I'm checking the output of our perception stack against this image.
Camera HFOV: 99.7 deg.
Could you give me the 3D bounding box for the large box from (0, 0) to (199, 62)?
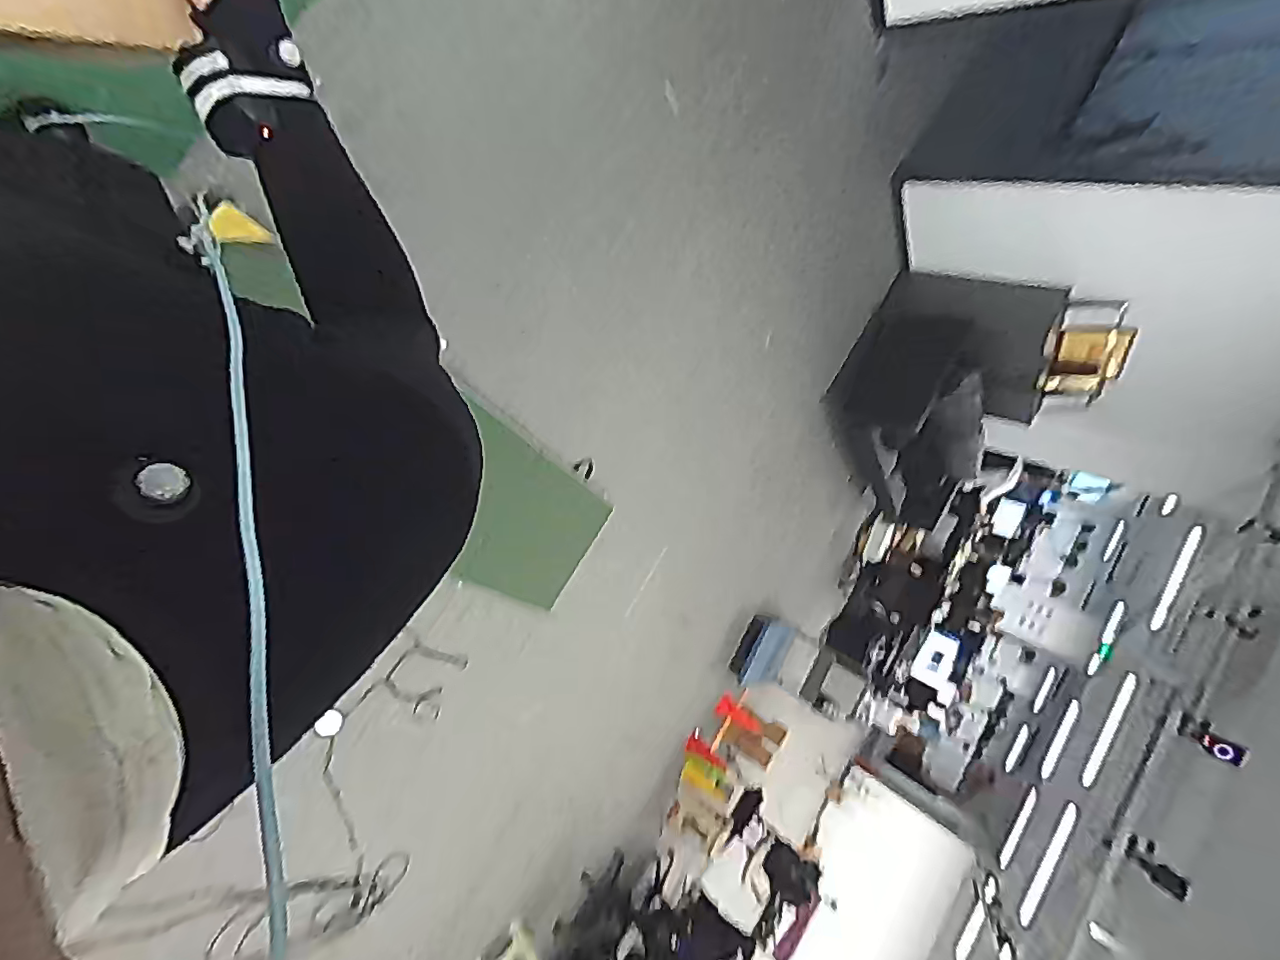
[{"bbox_3d":[-0.587,-0.467,0.316,0.408,0.320,0.320,-26,133,-39],"label":"large box"}]
